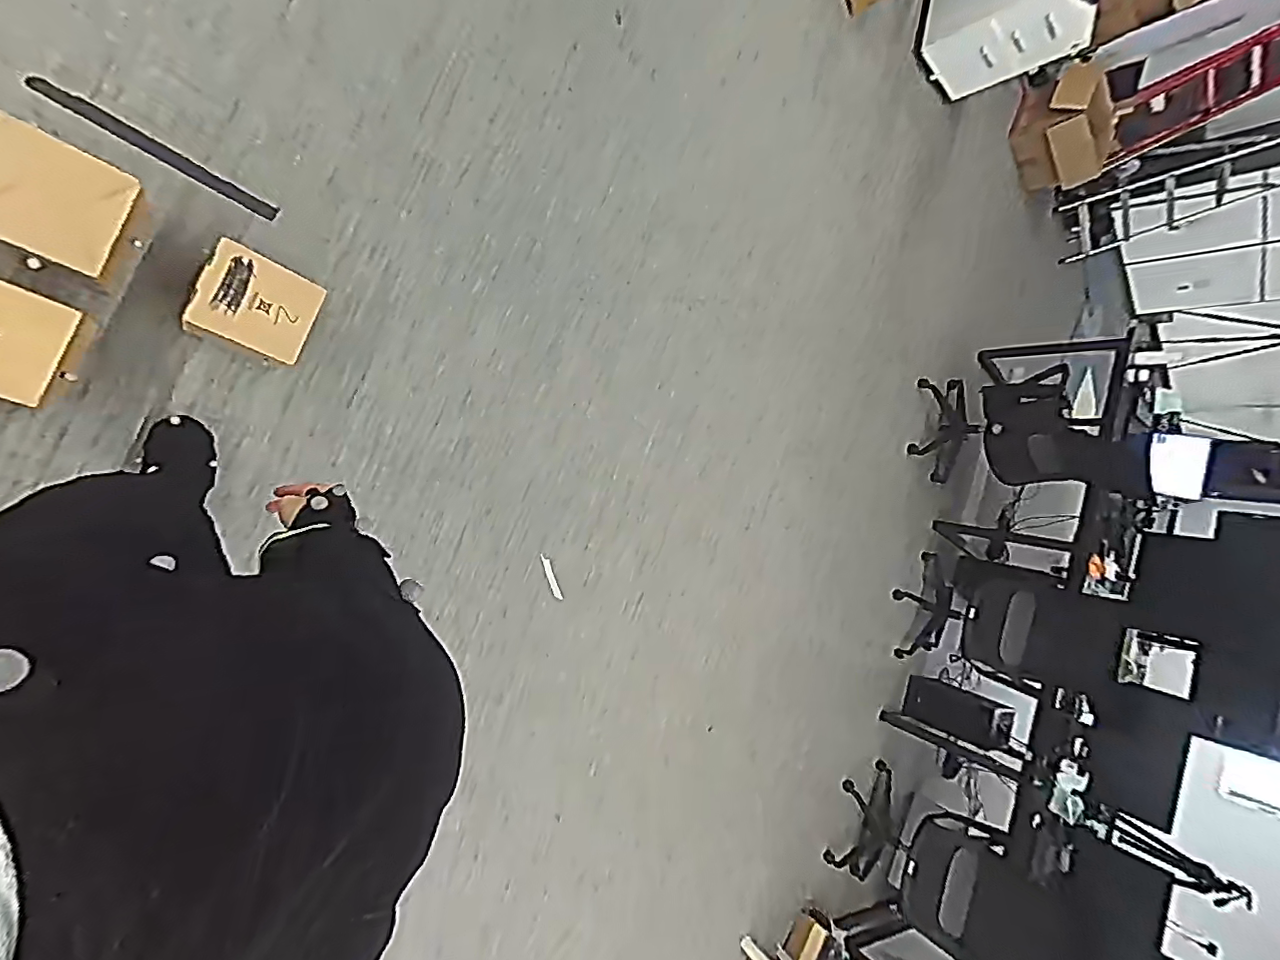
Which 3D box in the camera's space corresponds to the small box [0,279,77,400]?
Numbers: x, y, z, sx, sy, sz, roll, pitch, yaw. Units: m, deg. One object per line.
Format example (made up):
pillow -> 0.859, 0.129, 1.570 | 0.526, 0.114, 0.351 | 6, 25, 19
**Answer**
small box -> -1.029, -0.236, 0.837 | 0.179, 0.176, 0.168 | 25, 80, -39
